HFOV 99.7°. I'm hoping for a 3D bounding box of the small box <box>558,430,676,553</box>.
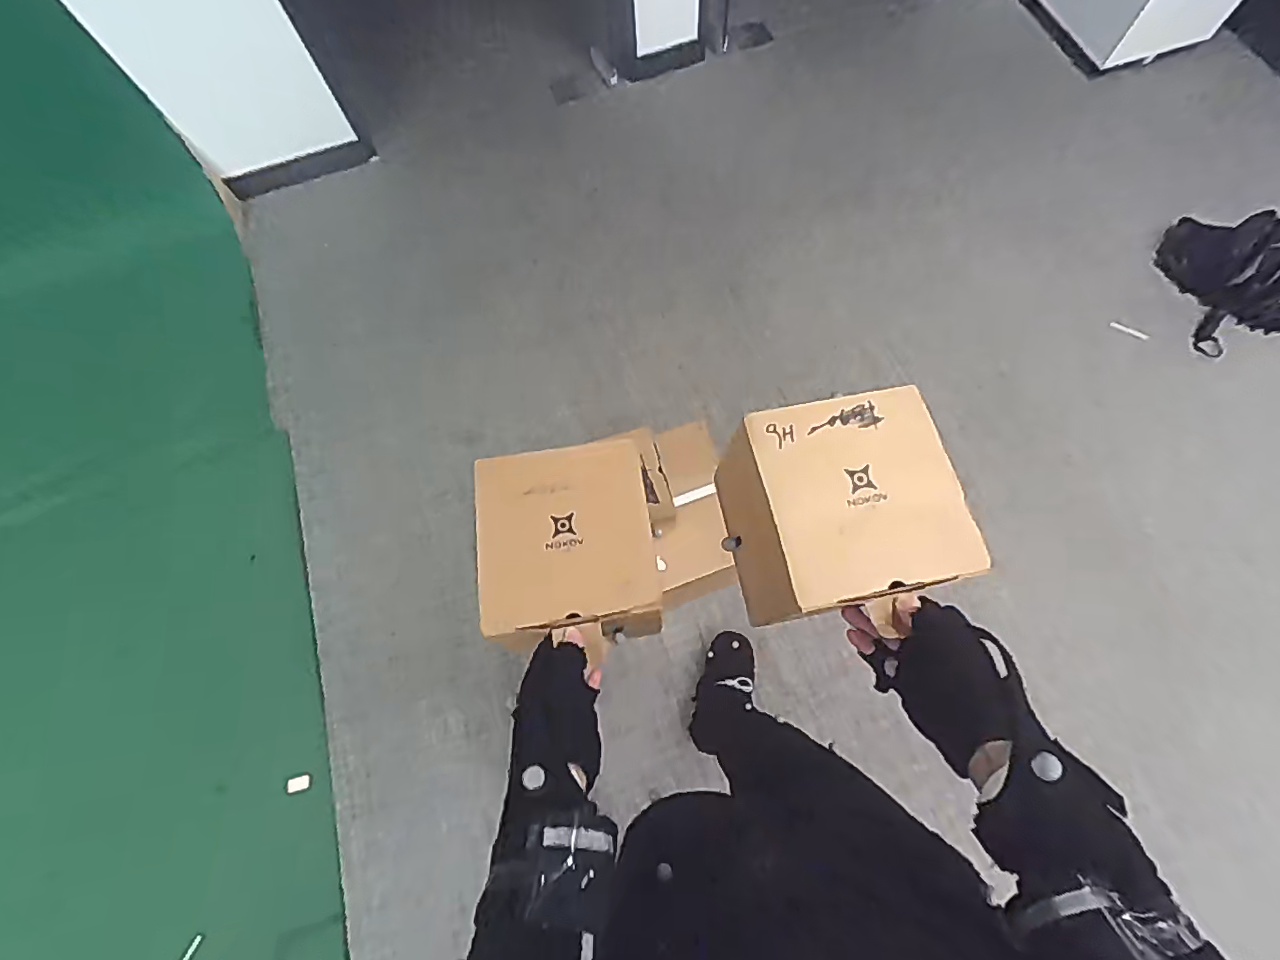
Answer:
[{"bbox_3d":[-0.041,0.028,0.989,0.179,0.176,0.168,-13,74,-2],"label":"small box"}]
